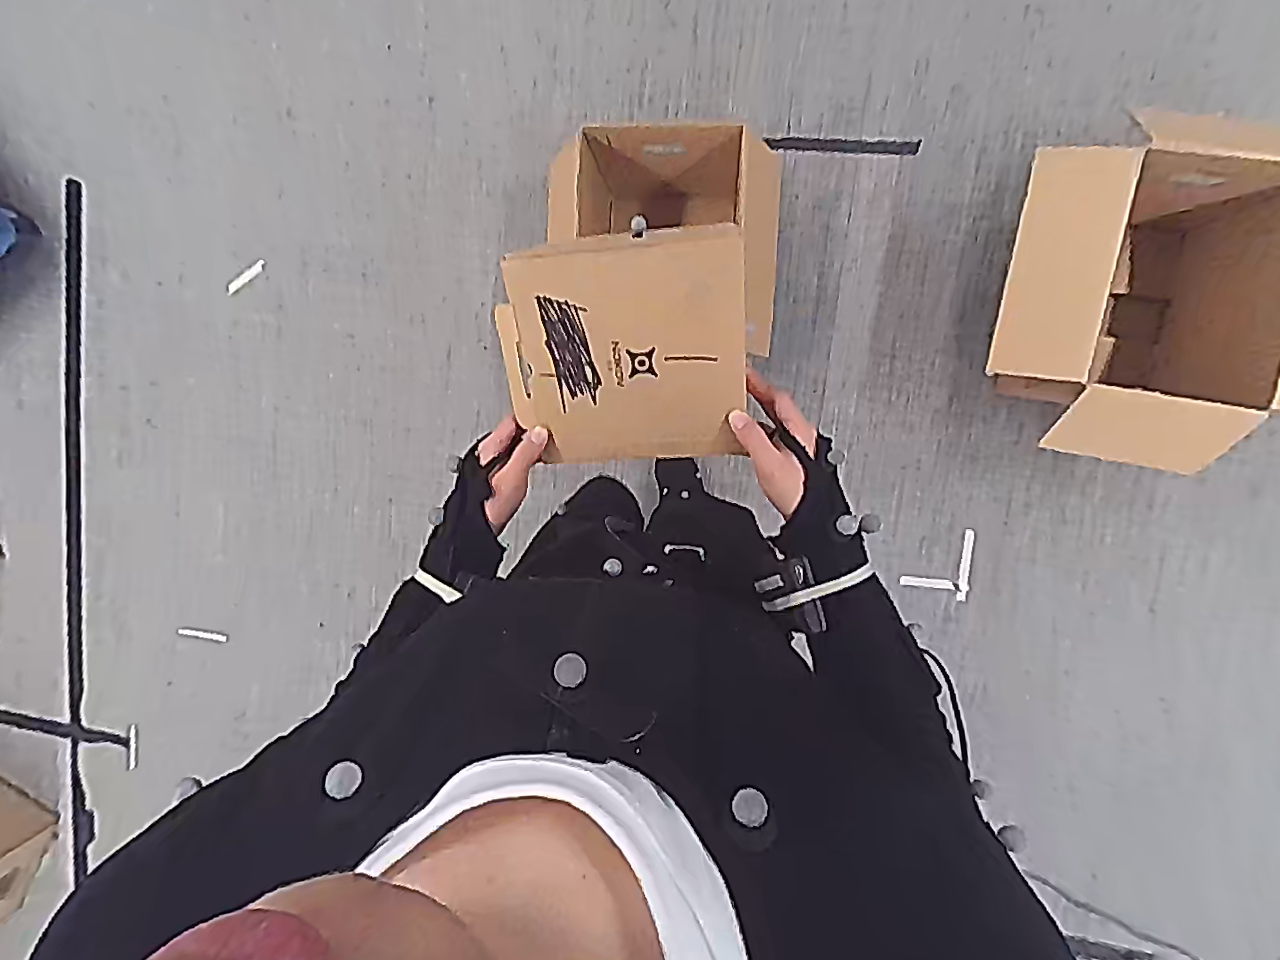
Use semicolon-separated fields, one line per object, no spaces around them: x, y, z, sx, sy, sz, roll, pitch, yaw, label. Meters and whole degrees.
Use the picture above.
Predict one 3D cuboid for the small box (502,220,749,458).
0.002;-0.130;0.477;0.179;0.176;0.168;-3;118;7;small box
